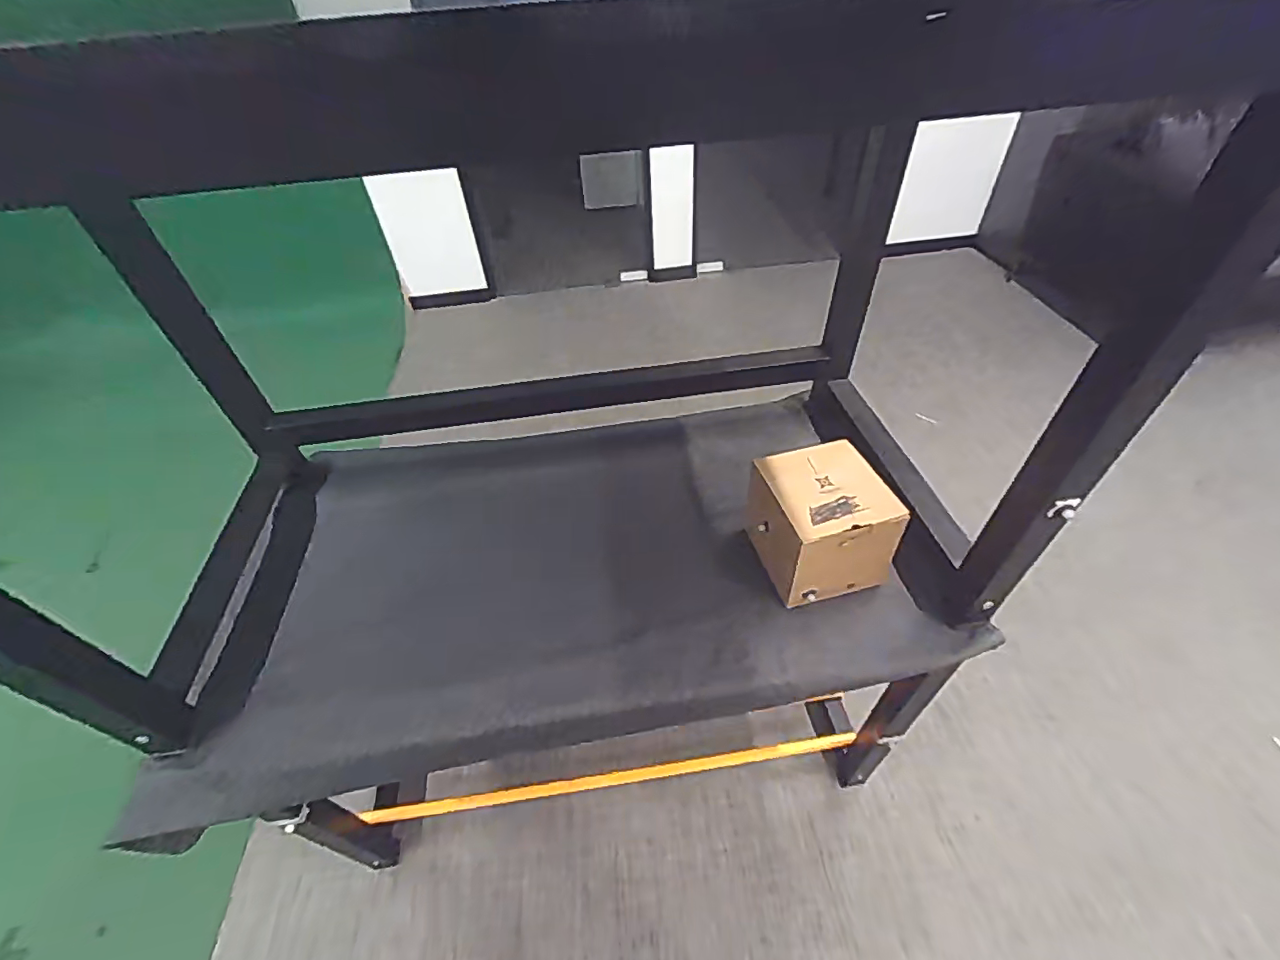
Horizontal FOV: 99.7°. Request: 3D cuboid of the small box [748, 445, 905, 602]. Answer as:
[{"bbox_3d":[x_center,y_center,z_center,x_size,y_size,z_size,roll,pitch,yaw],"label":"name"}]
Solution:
[{"bbox_3d":[0.283,0.075,0.865,0.168,0.176,0.179,-12,44,-7],"label":"small box"}]
